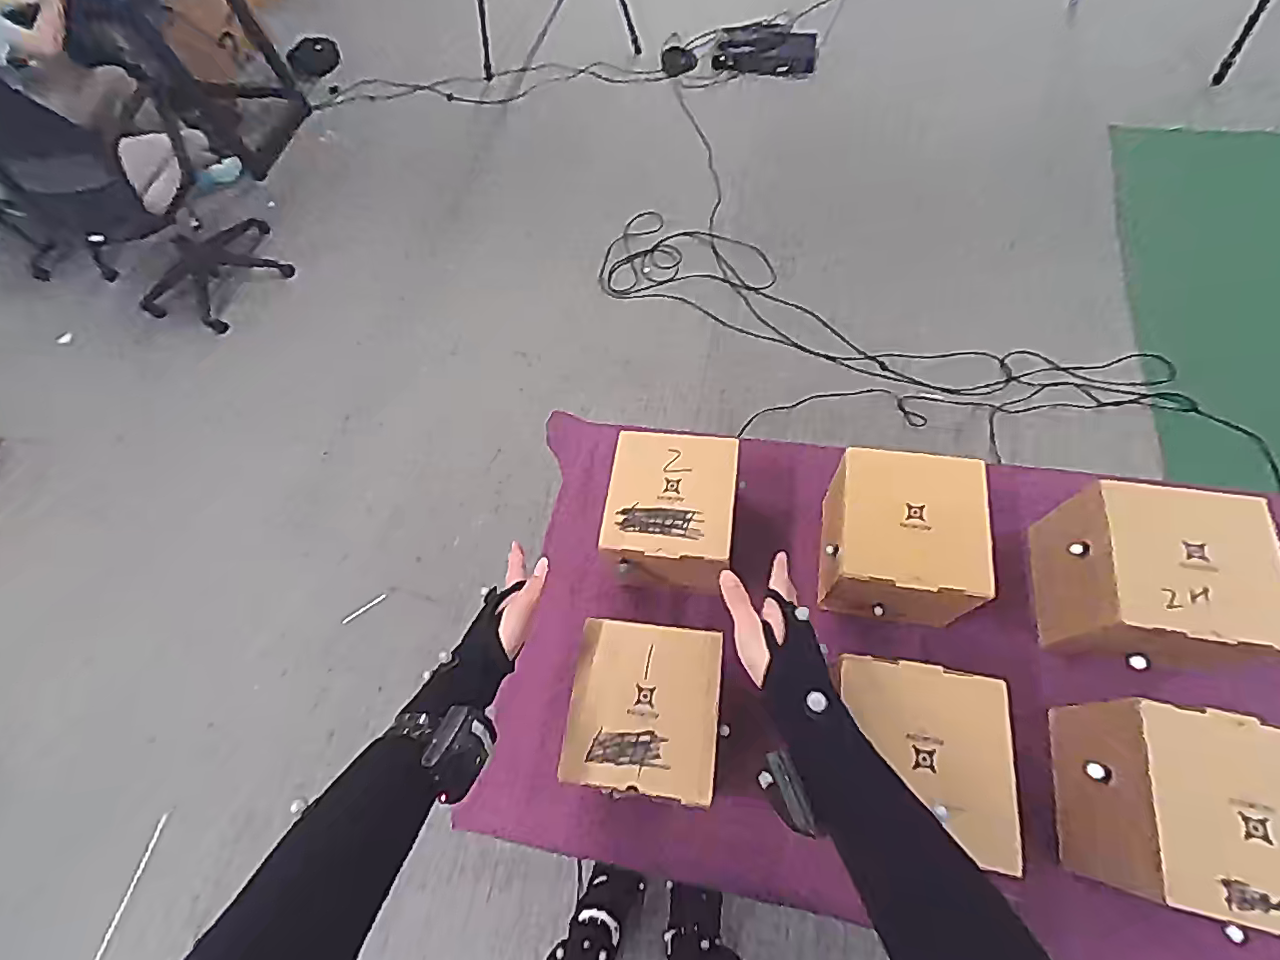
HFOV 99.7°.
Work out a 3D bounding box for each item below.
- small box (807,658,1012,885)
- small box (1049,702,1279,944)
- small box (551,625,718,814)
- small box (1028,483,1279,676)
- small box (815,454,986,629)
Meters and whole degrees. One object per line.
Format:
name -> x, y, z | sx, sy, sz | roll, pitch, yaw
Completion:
small box -> 0.288, 0.318, 0.614 | 0.168, 0.176, 0.179 | 6, 65, 13
small box -> 0.556, 0.346, 0.556 | 0.168, 0.176, 0.179 | 8, 64, 13
small box -> 0.007, 0.293, 0.667 | 0.168, 0.176, 0.179 | 4, 62, 10
small box -> 0.605, 0.125, 0.658 | 0.168, 0.176, 0.179 | 7, 66, 13
small box -> 0.333, 0.086, 0.723 | 0.168, 0.176, 0.179 | 6, 66, 12
